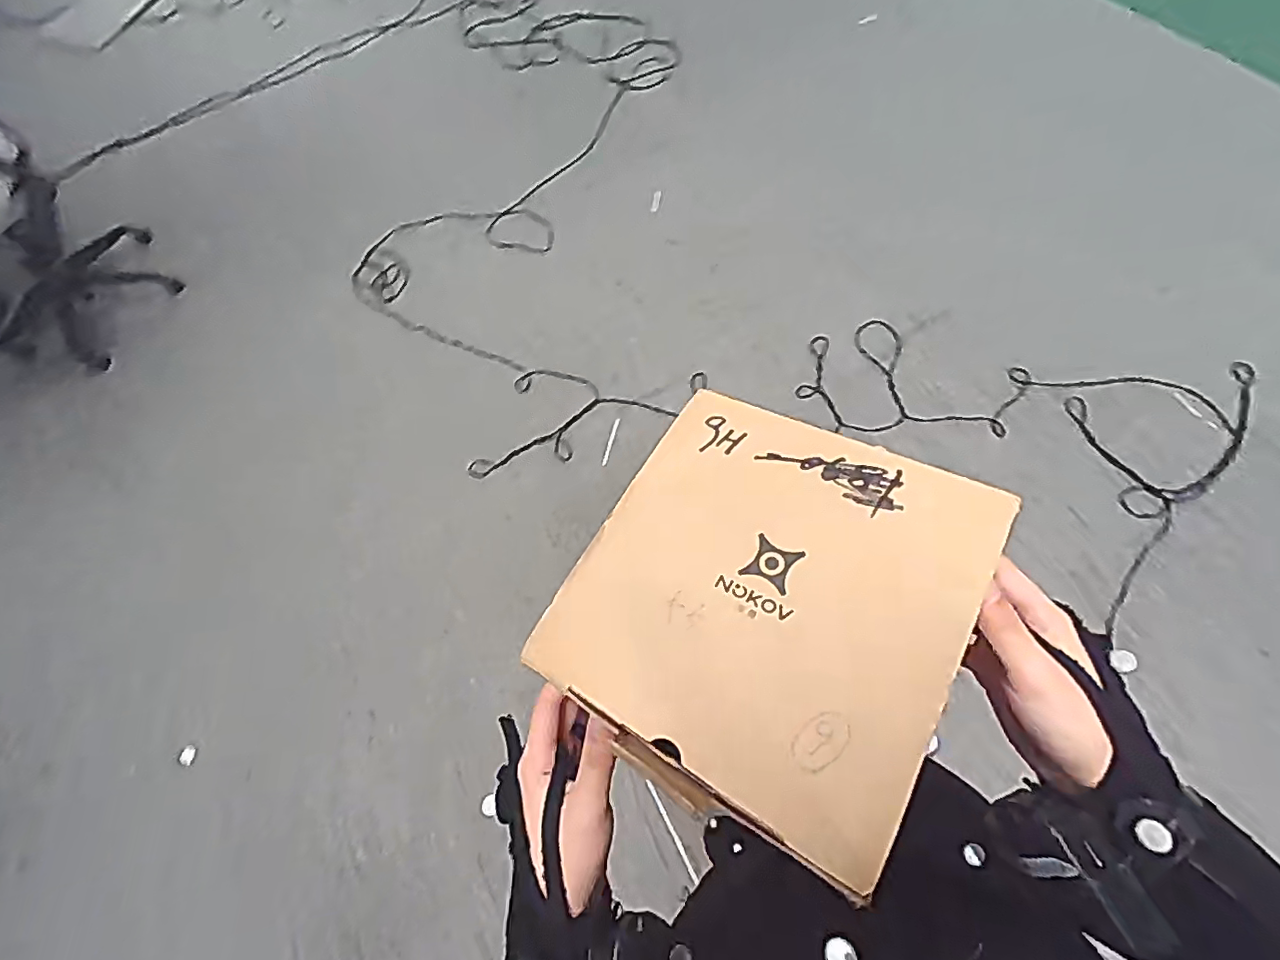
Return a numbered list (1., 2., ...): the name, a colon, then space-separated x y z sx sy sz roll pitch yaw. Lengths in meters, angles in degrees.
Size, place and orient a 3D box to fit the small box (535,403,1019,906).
1. small box: 0.077 0.092 0.317 0.168 0.176 0.179 25 69 26
